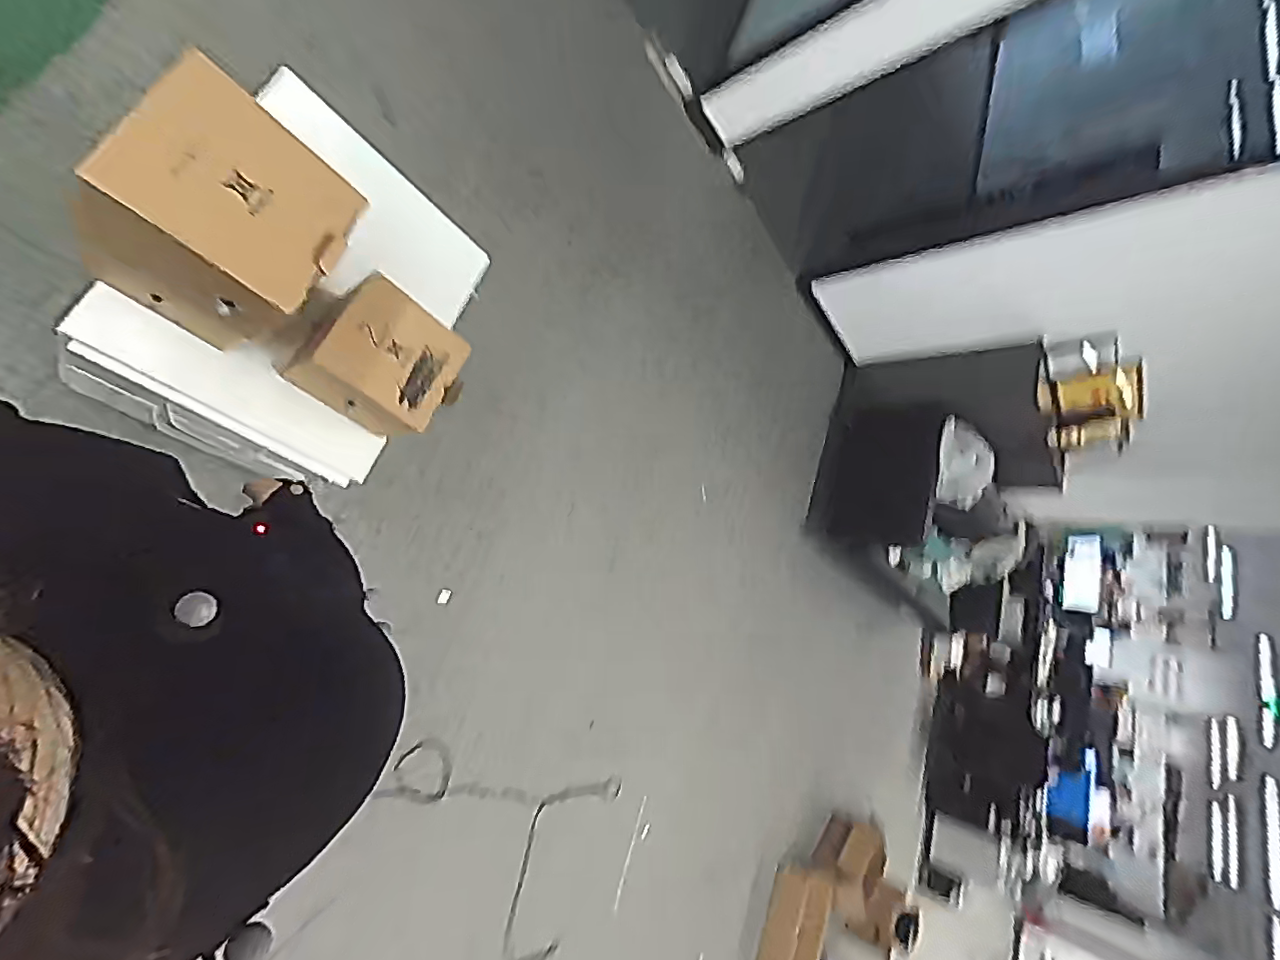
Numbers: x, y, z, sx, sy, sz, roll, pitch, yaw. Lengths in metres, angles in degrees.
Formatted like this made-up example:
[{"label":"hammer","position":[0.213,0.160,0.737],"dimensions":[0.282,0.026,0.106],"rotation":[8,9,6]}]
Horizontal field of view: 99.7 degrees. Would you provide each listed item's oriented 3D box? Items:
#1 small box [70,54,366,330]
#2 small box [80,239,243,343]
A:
[{"label":"small box","position":[-0.438,-0.278,0.571],"dimensions":[0.179,0.176,0.168],"rotation":[38,63,-41]},{"label":"small box","position":[-0.553,-0.295,0.685],"dimensions":[0.168,0.176,0.179],"rotation":[41,62,-42]}]
